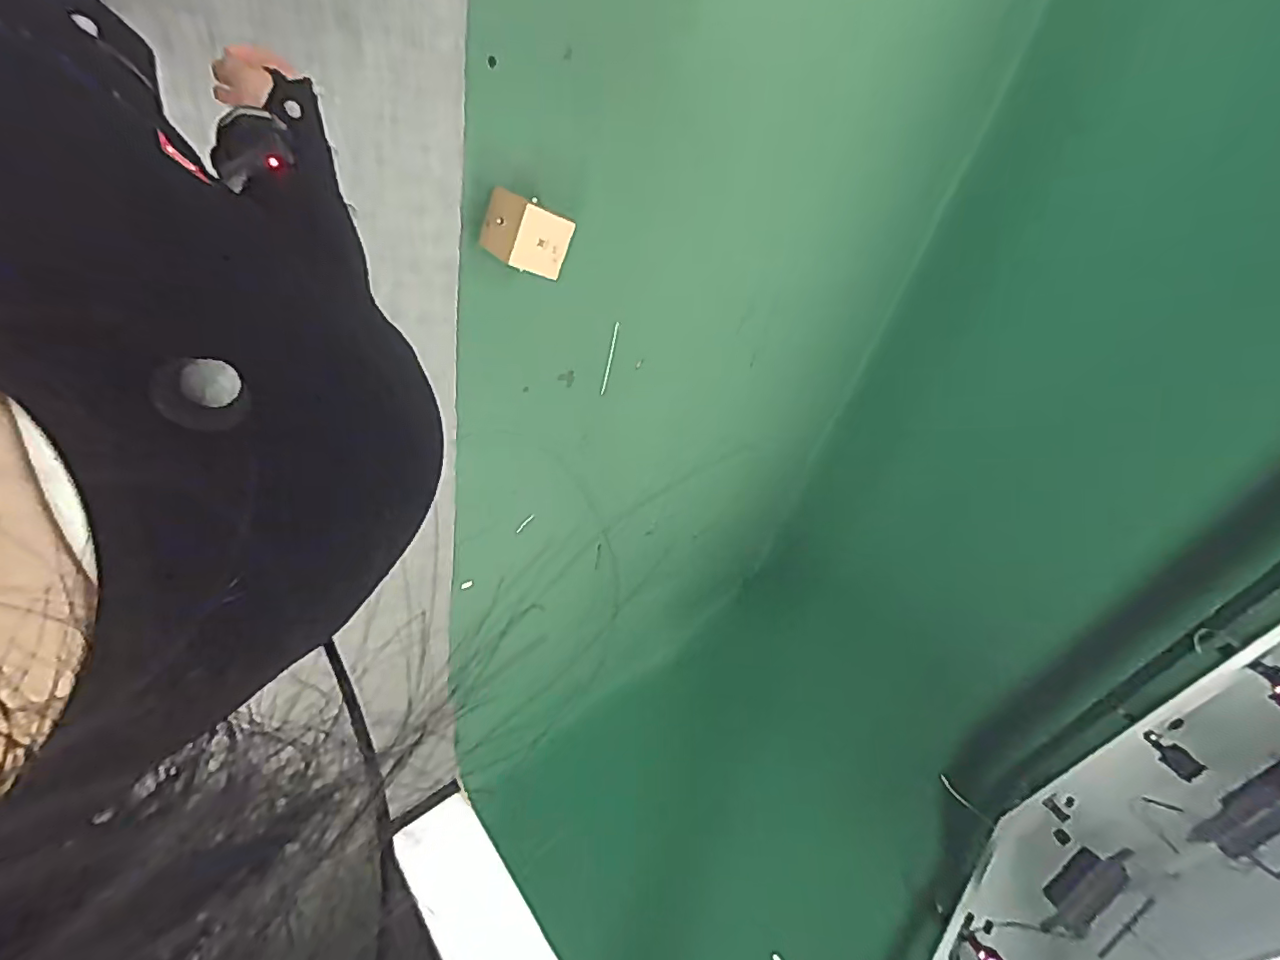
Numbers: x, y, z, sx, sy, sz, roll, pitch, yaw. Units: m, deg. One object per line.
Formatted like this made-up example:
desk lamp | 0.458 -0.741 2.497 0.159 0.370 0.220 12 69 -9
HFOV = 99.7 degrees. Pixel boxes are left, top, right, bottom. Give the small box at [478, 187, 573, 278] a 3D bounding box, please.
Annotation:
small box | -0.330 -0.701 1.529 0.179 0.176 0.168 -3 128 -51
